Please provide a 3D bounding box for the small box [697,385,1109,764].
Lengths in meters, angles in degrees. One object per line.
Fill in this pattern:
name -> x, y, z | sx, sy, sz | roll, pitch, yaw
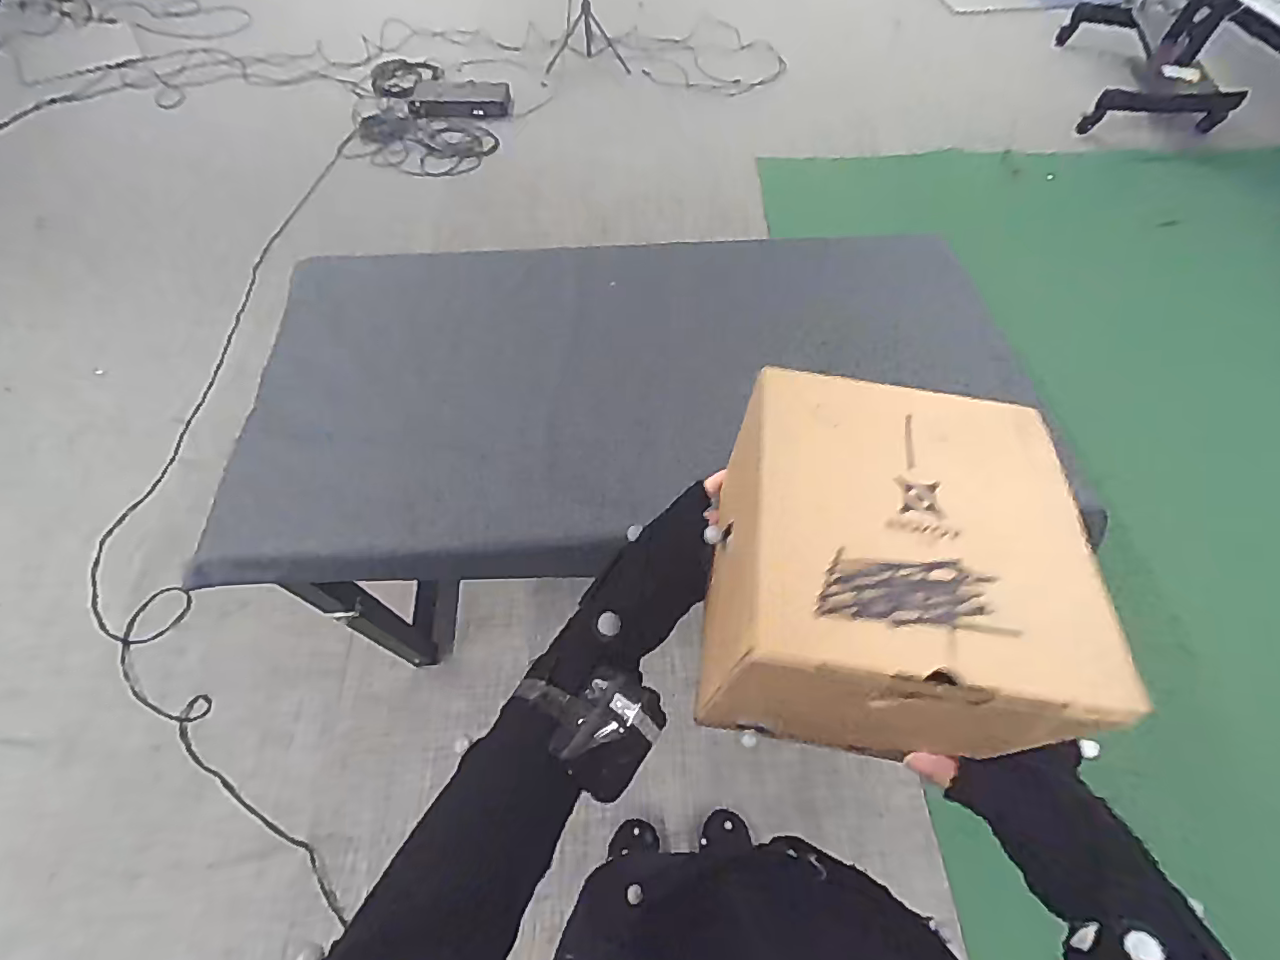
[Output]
small box -> 0.134, 0.069, 0.350 | 0.168, 0.176, 0.179 | 10, 56, 3
